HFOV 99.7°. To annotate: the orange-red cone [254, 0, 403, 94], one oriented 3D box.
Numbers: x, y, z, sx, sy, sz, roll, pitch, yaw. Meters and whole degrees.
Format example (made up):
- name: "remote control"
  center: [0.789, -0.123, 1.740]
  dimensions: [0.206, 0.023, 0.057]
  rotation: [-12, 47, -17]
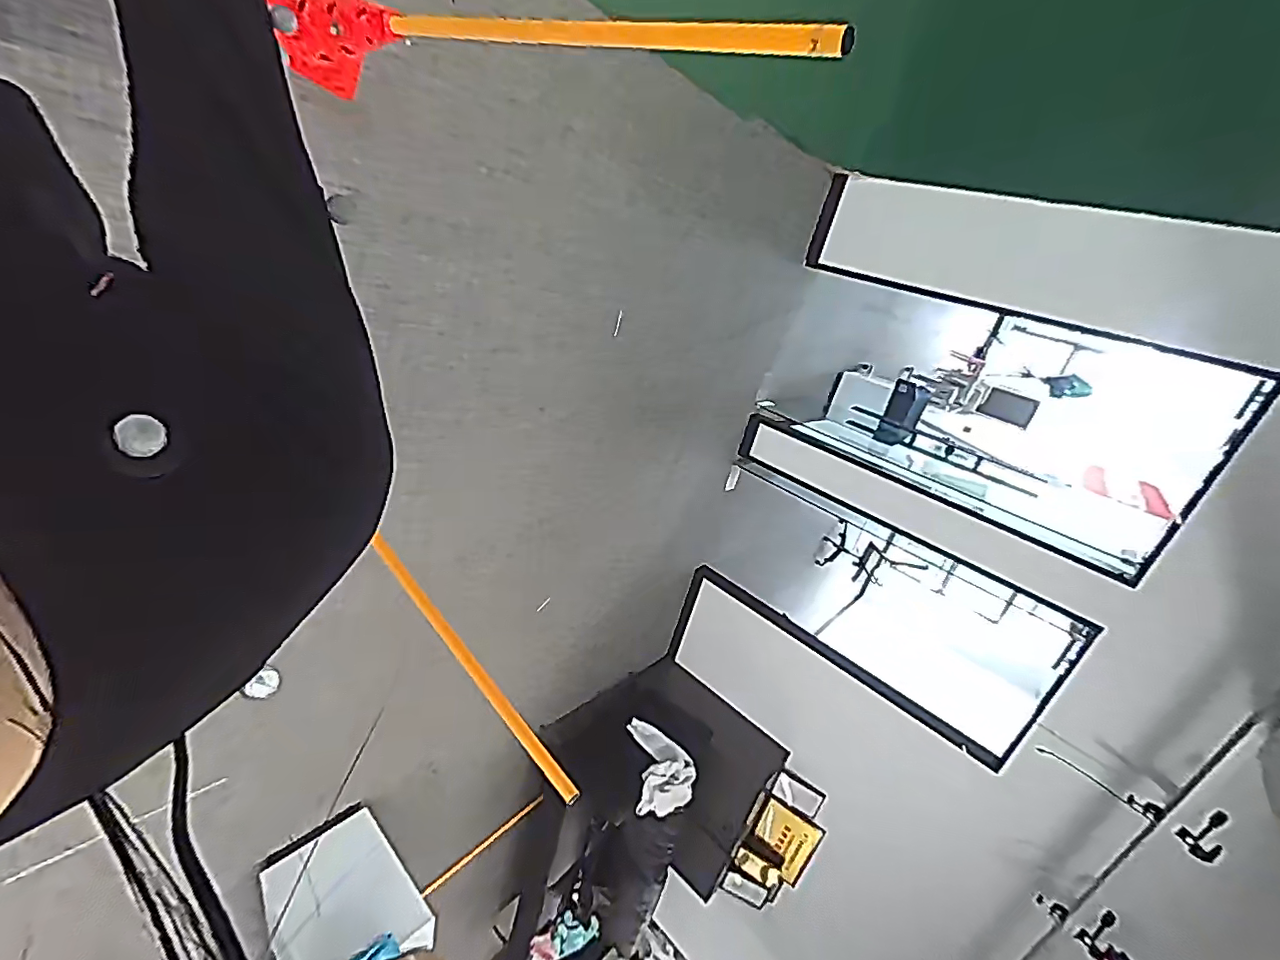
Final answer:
- name: "orange-red cone"
  center: [-0.558, -0.884, 1.042]
  dimensions: [0.198, 0.360, 0.199]
  rotation: [5, 113, -54]
